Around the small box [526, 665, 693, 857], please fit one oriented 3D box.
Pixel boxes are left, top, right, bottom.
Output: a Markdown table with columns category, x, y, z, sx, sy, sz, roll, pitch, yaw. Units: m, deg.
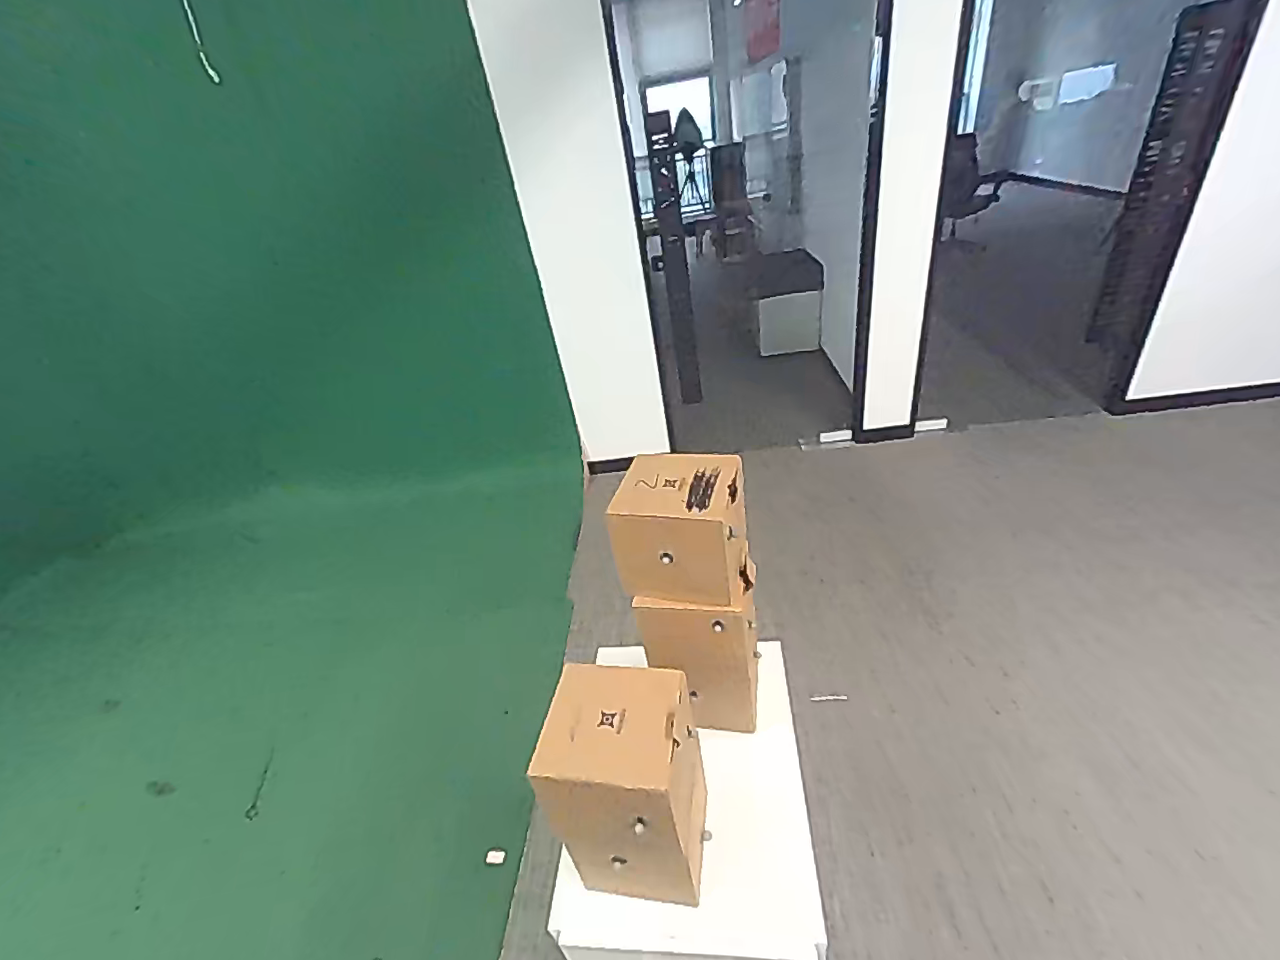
| category | x | y | z | sx | sy | sz | roll | pitch | yaw |
| --- | --- | --- | --- | --- | --- | --- | --- | --- | --- |
| small box | -0.026 | 0.377 | 0.732 | 0.179 | 0.176 | 0.168 | -2 | 32 | 14 |

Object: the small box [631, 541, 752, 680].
| category | x | y | z | sx | sy | sz | roll | pitch | yaw |
| --- | --- | --- | --- | --- | --- | --- | --- | --- | --- |
| small box | 0.097 | 0.223 | 0.932 | 0.179 | 0.176 | 0.168 | -1 | 34 | 14 |

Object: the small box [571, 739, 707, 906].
| category | x | y | z | sx | sy | sz | roll | pitch | yaw |
| --- | --- | --- | --- | --- | --- | --- | --- | --- | --- |
| small box | 0.002 | 0.510 | 0.821 | 0.179 | 0.176 | 0.168 | 0 | 33 | 14 |

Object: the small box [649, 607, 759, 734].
| category | x | y | z | sx | sy | sz | roll | pitch | yaw |
| --- | --- | --- | --- | --- | --- | --- | --- | --- | --- |
| small box | 0.128 | 0.354 | 1.022 | 0.179 | 0.176 | 0.168 | -1 | 34 | 16 |
